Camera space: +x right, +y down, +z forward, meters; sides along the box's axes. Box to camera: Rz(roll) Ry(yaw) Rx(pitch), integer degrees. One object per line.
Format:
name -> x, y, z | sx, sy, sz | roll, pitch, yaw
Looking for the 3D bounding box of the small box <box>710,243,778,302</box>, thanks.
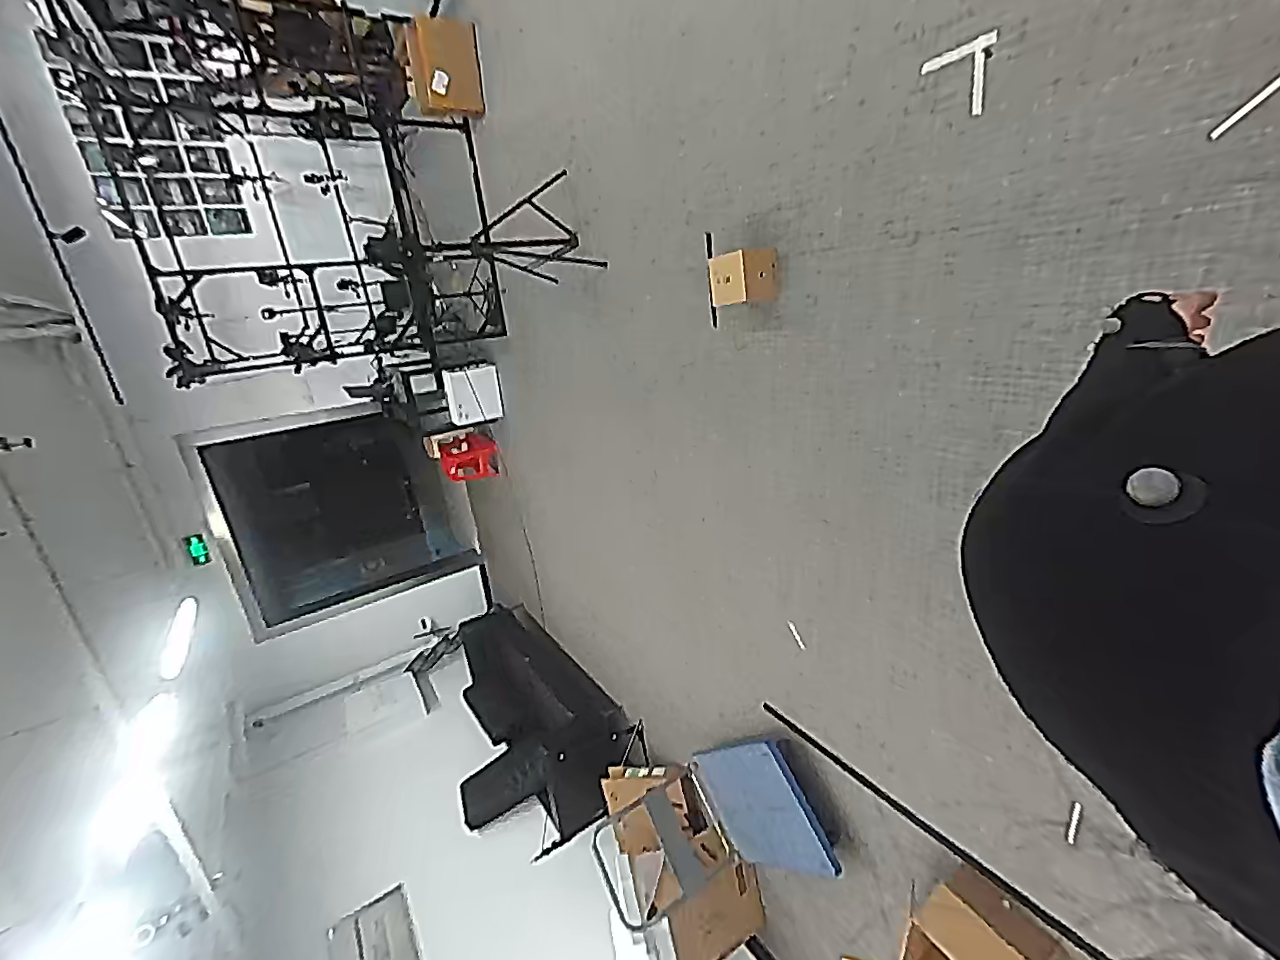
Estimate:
small box -> 0.373, -0.732, 1.909 | 0.179, 0.176, 0.168 | 17, 119, 56
